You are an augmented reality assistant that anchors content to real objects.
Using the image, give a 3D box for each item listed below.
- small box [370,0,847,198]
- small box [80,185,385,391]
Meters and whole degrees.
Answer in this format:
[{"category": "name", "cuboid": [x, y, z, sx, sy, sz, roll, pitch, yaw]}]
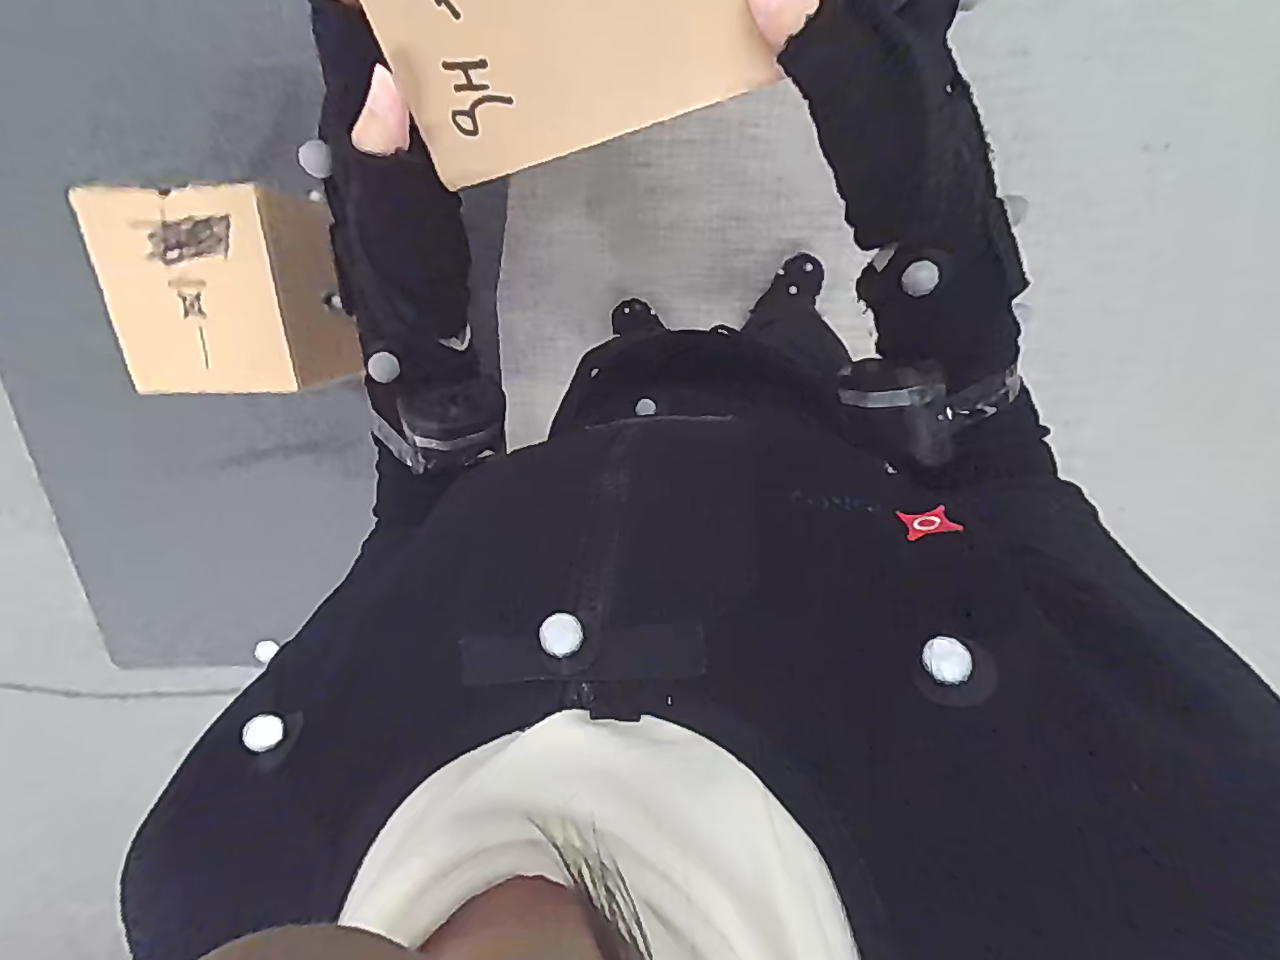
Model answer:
[{"category": "small box", "cuboid": [-0.030, -0.257, 0.234, 0.179, 0.176, 0.168, -18, 132, 4]}, {"category": "small box", "cuboid": [-0.395, -0.194, 0.563, 0.168, 0.176, 0.179, 1, 110, 4]}]
